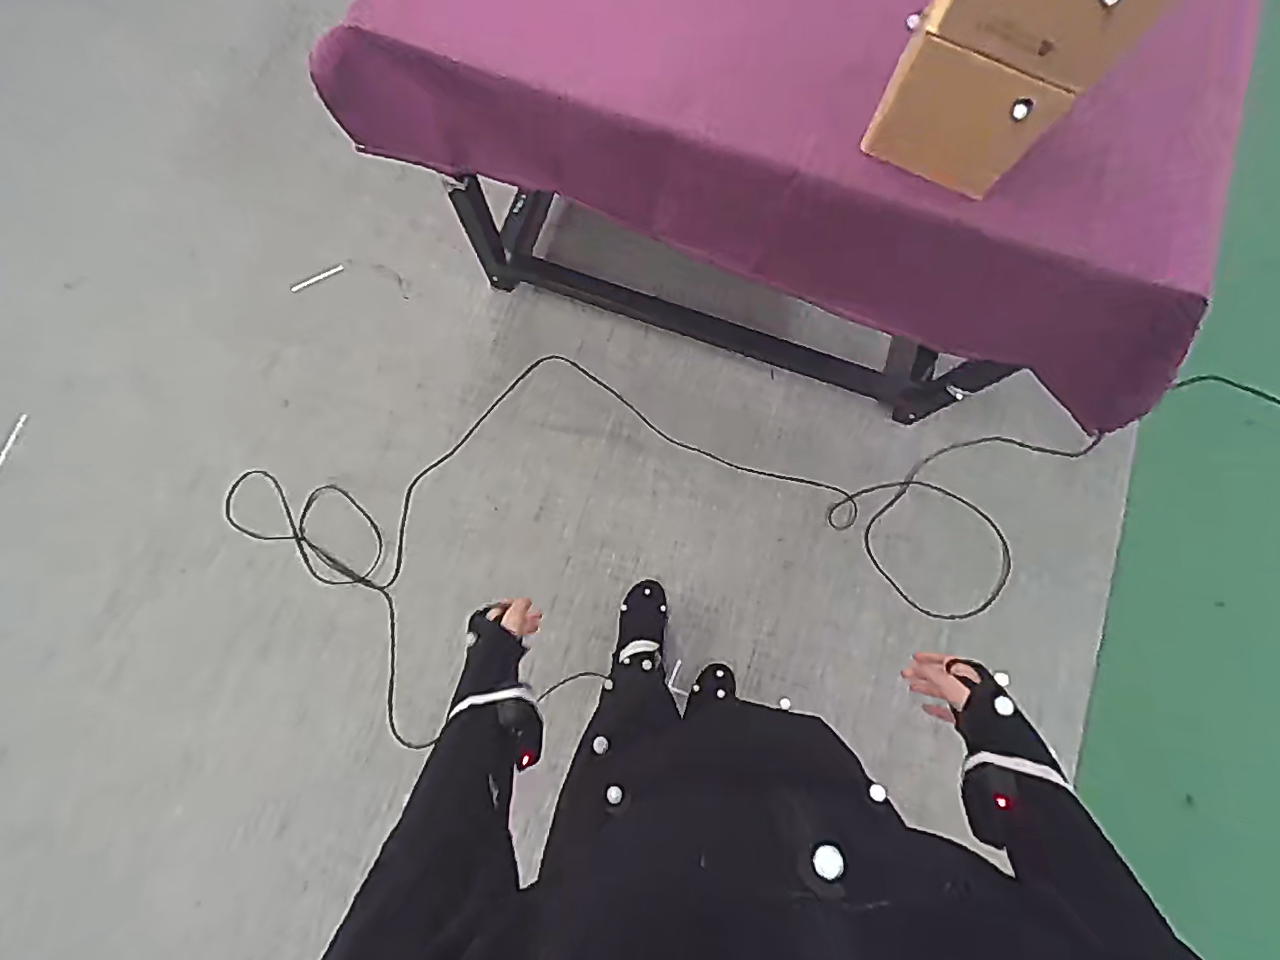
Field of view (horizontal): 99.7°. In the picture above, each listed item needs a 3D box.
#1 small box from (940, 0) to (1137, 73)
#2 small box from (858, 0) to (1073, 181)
[{"bbox_3d":[0.413,-0.537,0.500,0.168,0.176,0.179,26,80,1],"label":"small box"},{"bbox_3d":[0.399,-0.510,0.660,0.179,0.176,0.168,24,81,2],"label":"small box"}]
